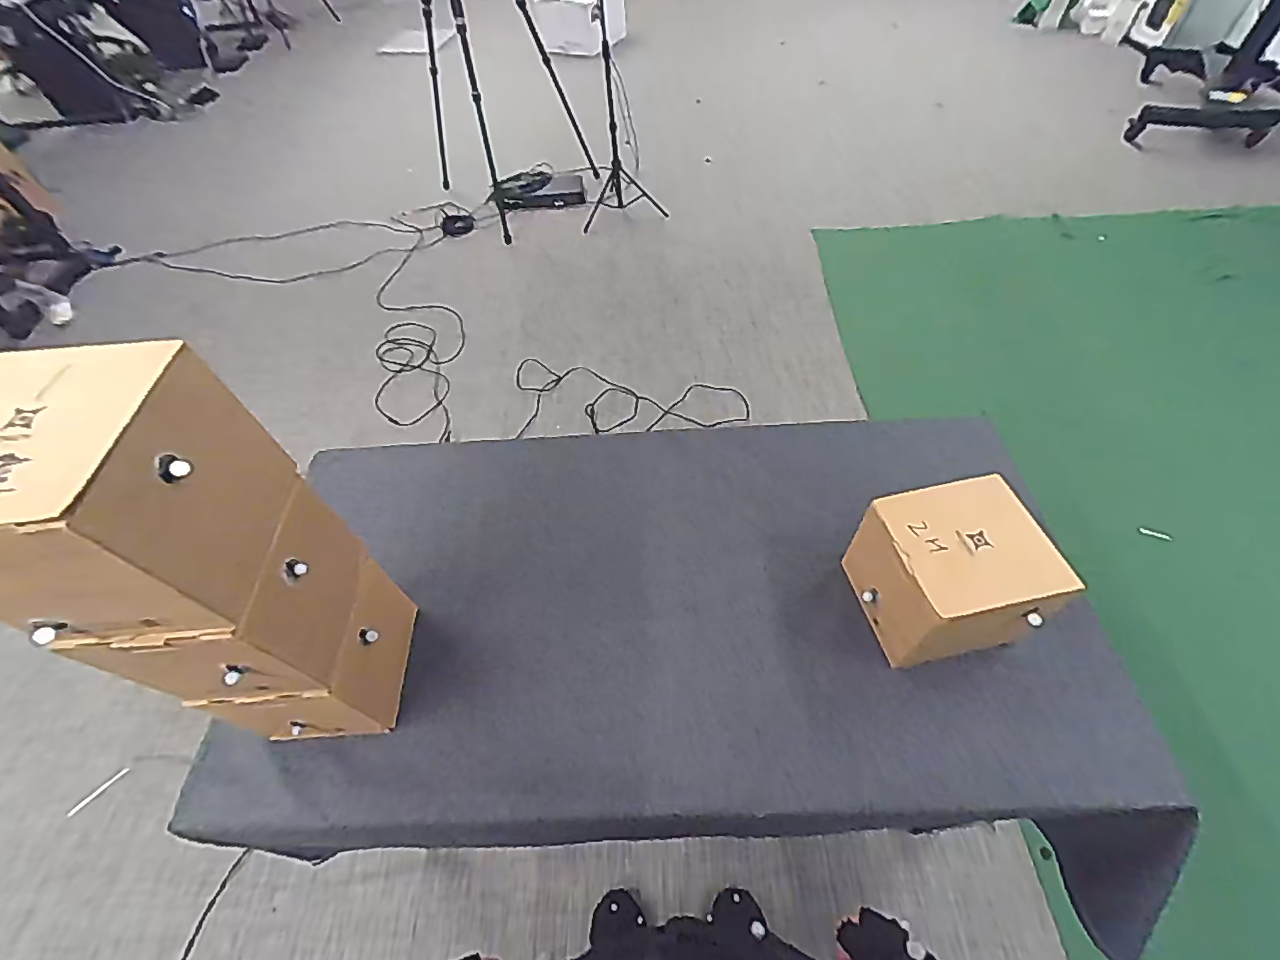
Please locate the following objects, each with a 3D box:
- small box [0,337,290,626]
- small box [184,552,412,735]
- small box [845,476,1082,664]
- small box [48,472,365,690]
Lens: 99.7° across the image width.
[{"bbox_3d":[-0.430,0.010,0.443,0.168,0.176,0.179,-4,53,-1],"label":"small box"},{"bbox_3d":[-0.415,0.213,0.698,0.168,0.176,0.179,-5,54,0],"label":"small box"},{"bbox_3d":[0.396,0.120,0.702,0.179,0.176,0.168,-11,53,-3],"label":"small box"},{"bbox_3d":[-0.421,0.113,0.570,0.168,0.176,0.179,-3,53,0],"label":"small box"}]
